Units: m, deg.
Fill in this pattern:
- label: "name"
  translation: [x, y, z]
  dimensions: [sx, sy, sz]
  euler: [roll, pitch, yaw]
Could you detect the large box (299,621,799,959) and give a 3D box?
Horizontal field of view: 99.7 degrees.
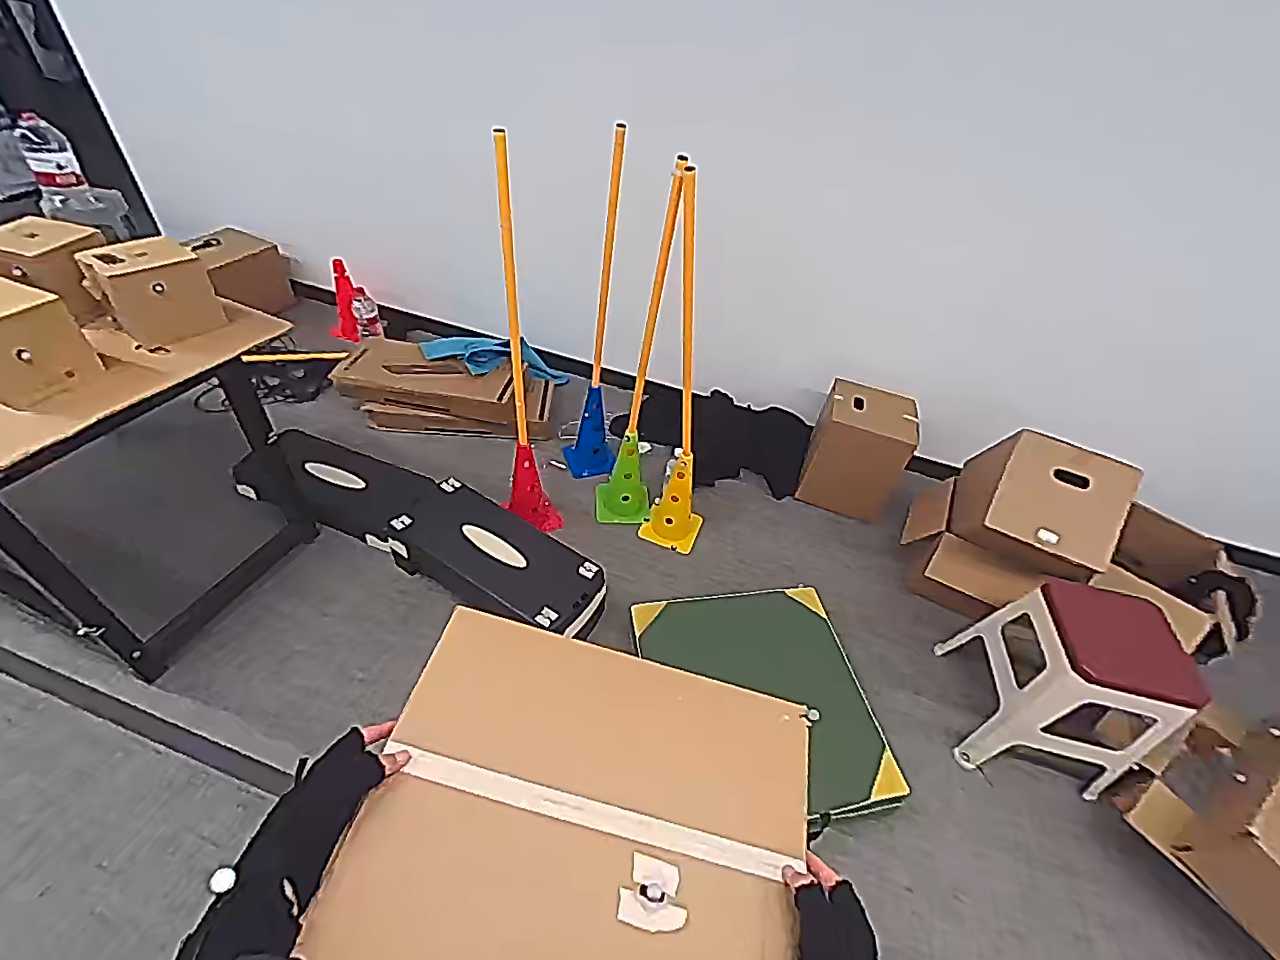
- label: "large box"
  translation: [-0.071, 0.414, 0.621]
  dimensions: [0.408, 0.320, 0.320]
  euler: [16, 49, 1]
